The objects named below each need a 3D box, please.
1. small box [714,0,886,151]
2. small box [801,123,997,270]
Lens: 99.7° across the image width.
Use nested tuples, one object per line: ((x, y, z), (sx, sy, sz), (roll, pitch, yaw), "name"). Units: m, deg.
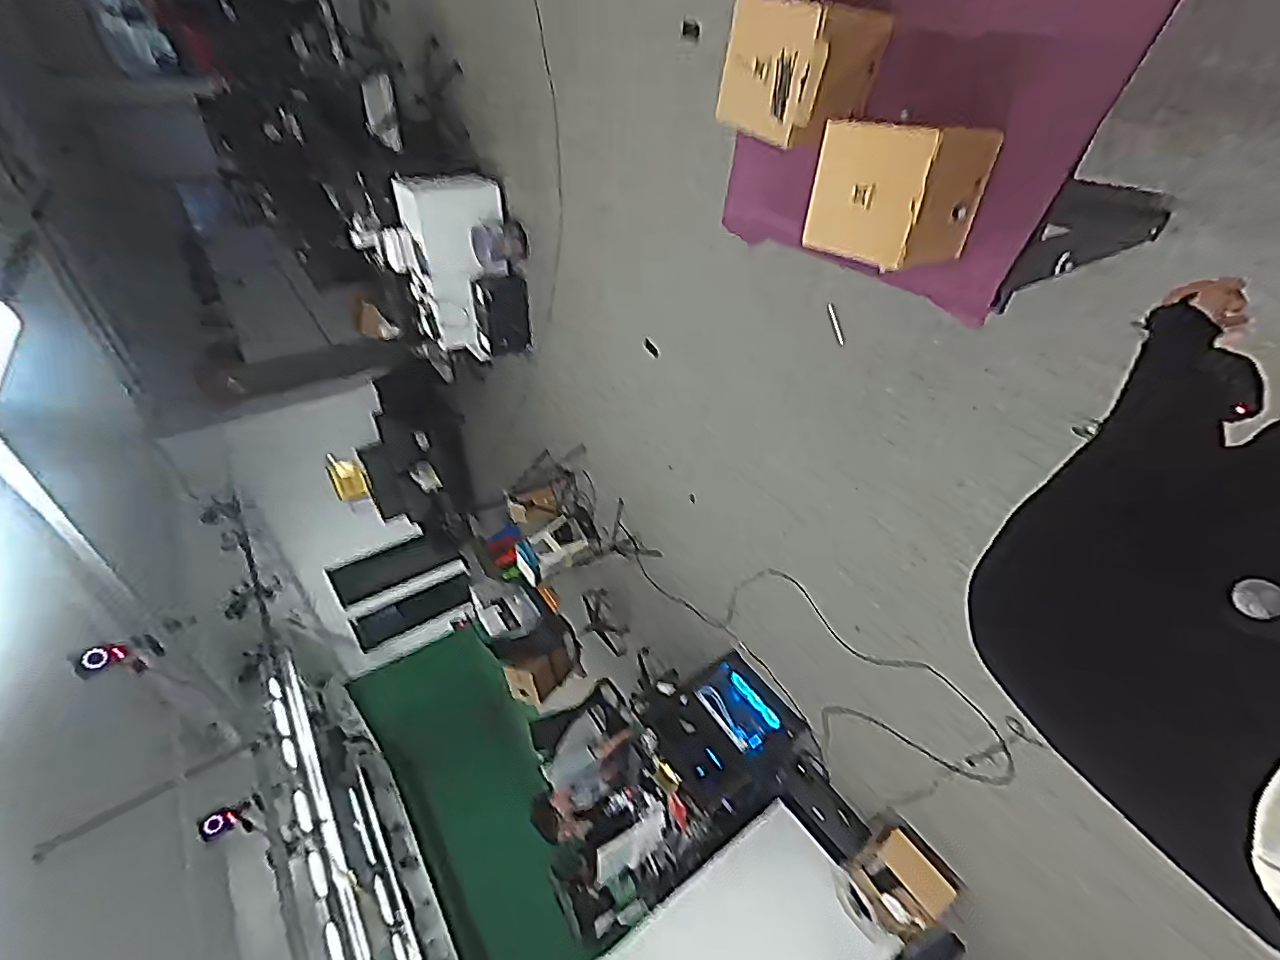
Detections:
((0.251, -0.646, 0.860), (0.179, 0.176, 0.168), (47, 145, 32), "small box")
((0.377, -0.424, 0.803), (0.179, 0.176, 0.168), (39, 139, 40), "small box")
